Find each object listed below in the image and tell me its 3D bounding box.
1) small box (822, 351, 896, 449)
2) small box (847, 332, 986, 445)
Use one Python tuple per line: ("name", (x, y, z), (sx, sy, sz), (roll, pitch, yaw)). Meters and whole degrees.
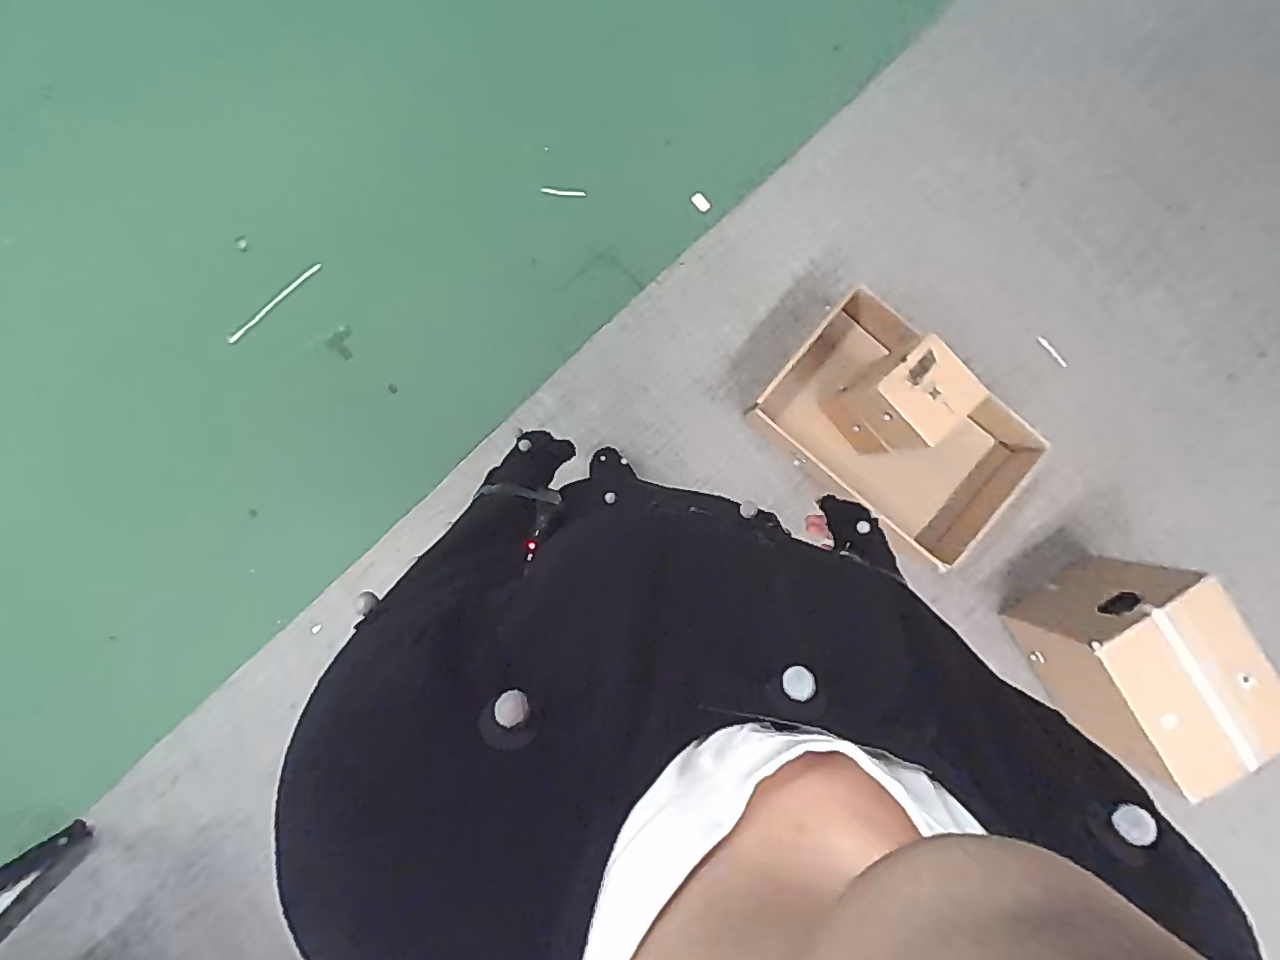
("small box", (0.589, -0.188, 1.350), (0.168, 0.176, 0.179), (-43, 93, 0))
("small box", (0.591, -0.189, 1.185), (0.168, 0.176, 0.179), (-44, 93, 0))
